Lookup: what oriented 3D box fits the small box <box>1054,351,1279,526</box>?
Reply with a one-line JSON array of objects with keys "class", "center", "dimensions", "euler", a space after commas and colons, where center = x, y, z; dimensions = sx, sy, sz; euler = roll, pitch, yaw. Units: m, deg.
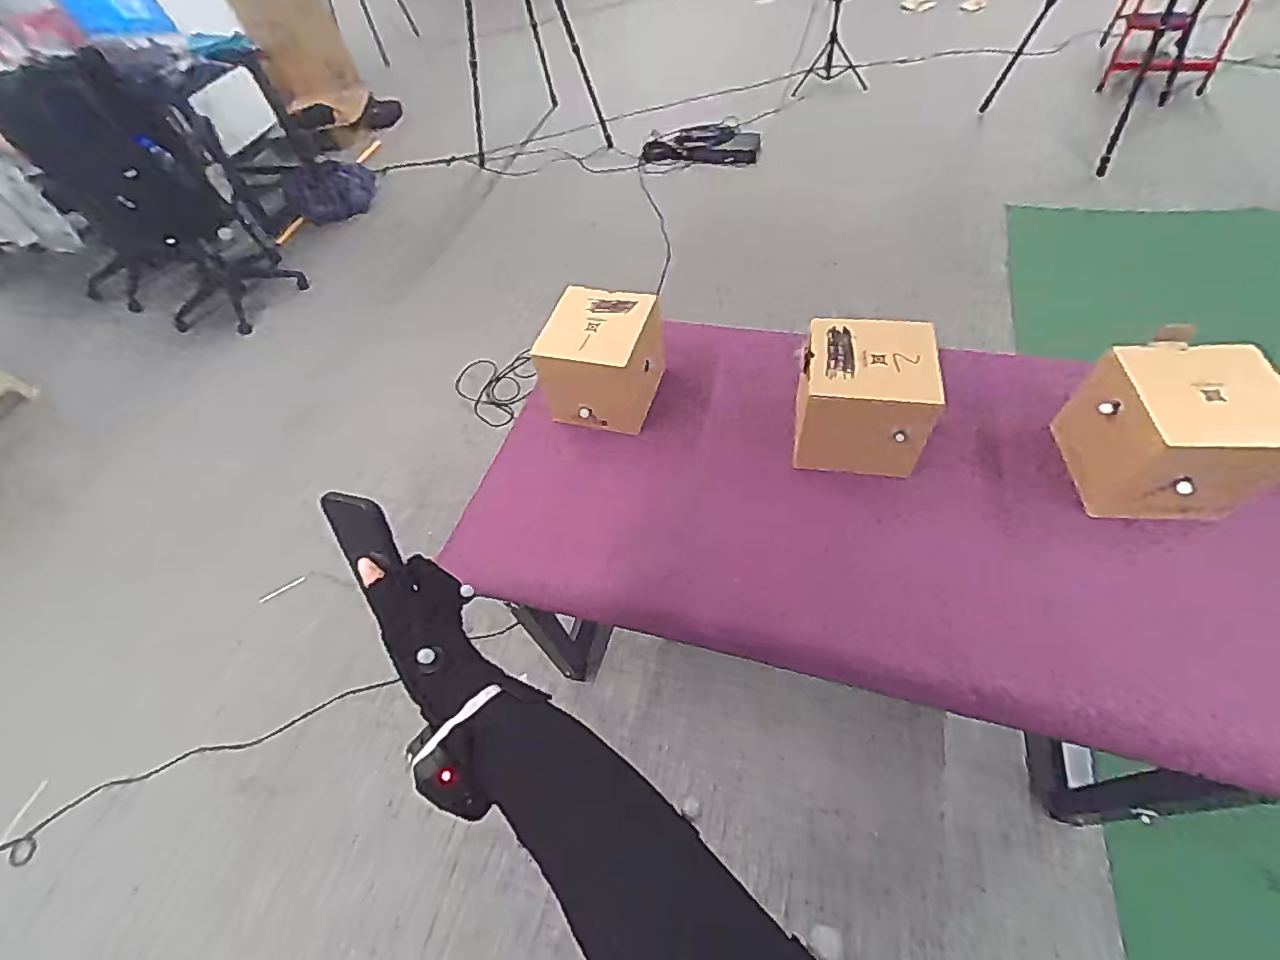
[{"class": "small box", "center": [0.709, -0.051, 0.728], "dimensions": [0.168, 0.176, 0.179], "euler": [2, 54, 10]}]

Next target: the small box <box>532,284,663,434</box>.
[{"class": "small box", "center": [-0.062, -0.209, 0.941], "dimensions": [0.168, 0.176, 0.179], "euler": [12, 59, 16]}]
